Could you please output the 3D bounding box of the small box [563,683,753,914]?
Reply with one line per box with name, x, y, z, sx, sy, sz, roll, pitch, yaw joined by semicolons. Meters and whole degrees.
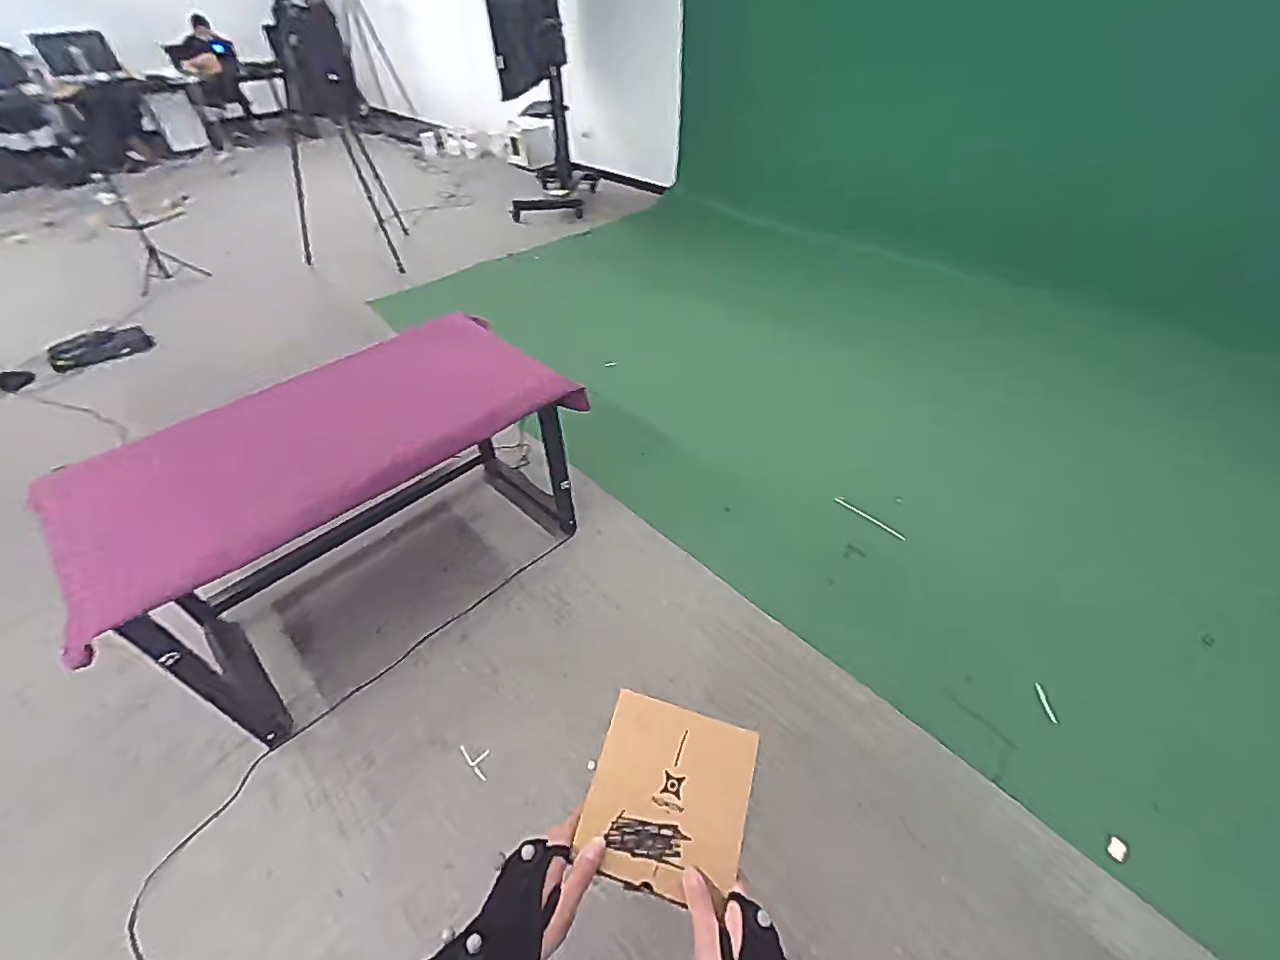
small box;0.021;0.369;0.634;0.168;0.176;0.179;16;55;6
